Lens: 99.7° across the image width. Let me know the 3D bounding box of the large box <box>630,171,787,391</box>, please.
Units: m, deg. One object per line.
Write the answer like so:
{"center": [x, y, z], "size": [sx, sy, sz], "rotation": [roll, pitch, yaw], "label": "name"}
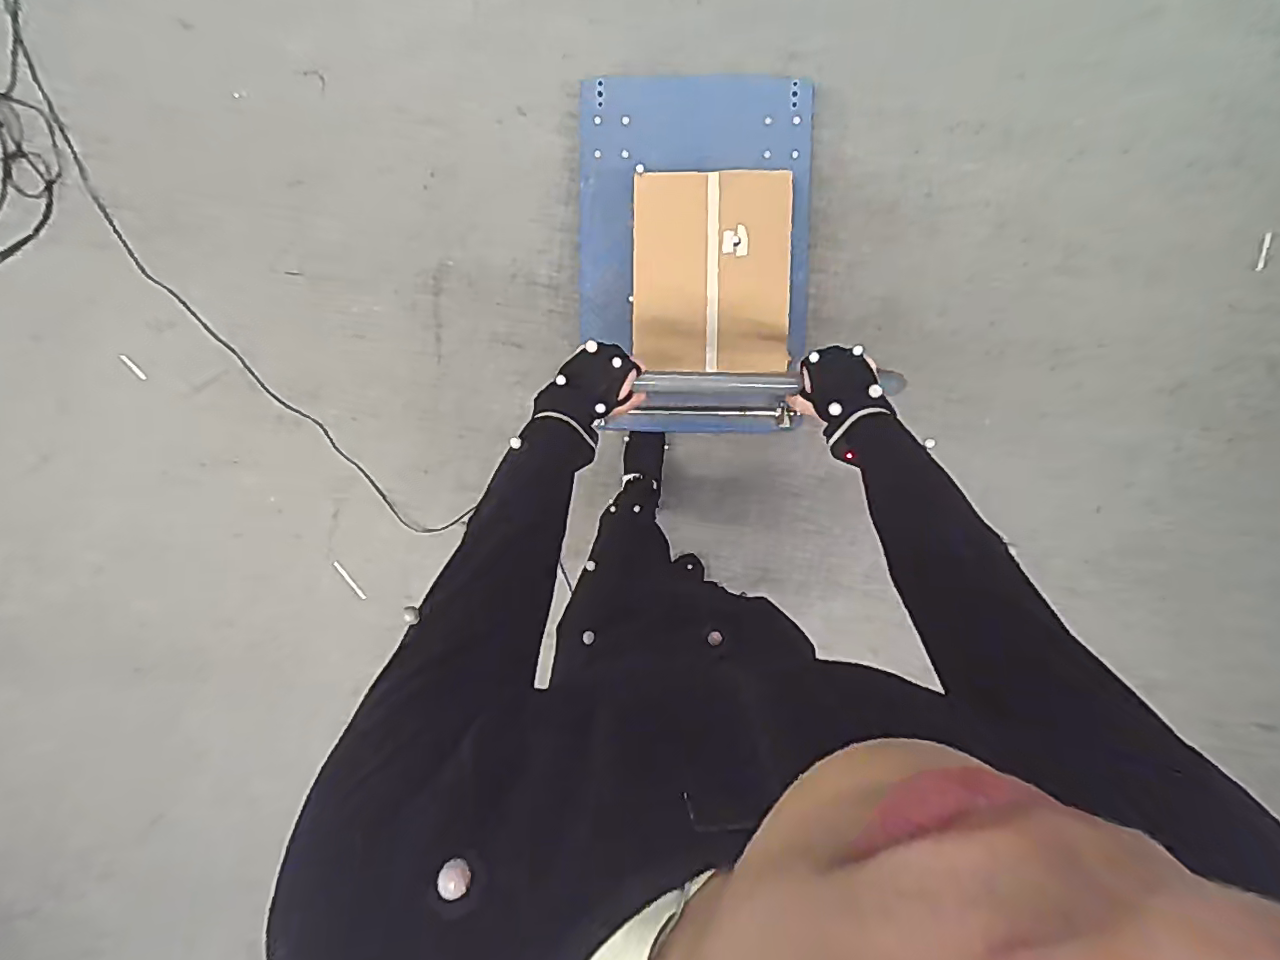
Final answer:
{"center": [0.143, -0.418, 1.227], "size": [0.320, 0.320, 0.408], "rotation": [1, 94, 1], "label": "large box"}
